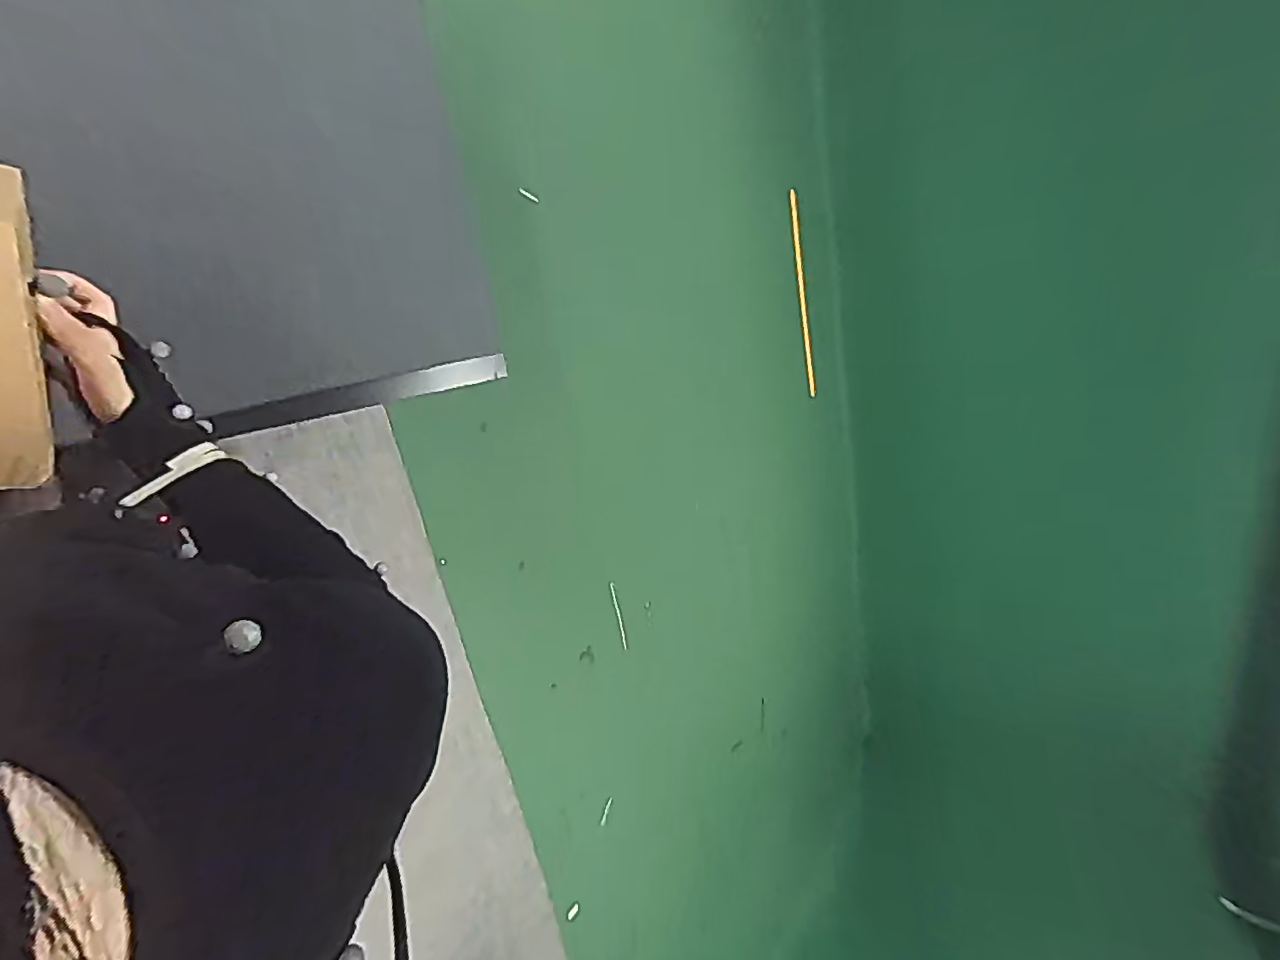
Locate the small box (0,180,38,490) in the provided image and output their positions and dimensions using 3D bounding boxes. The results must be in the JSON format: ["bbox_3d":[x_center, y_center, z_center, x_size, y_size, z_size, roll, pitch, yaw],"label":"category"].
[{"bbox_3d":[-0.474,-0.105,0.308,0.168,0.176,0.179,-5,124,-46],"label":"small box"}]
